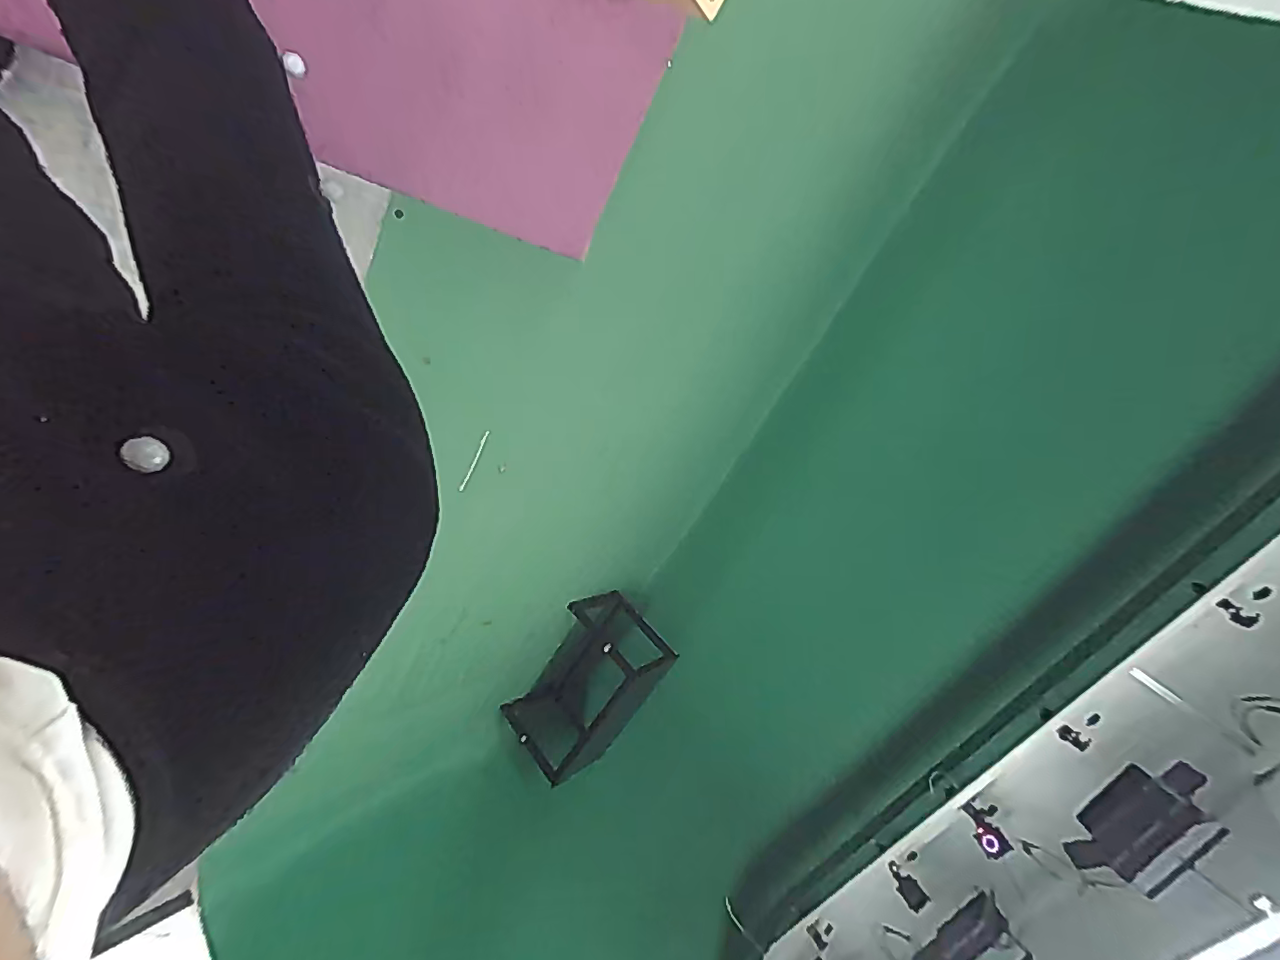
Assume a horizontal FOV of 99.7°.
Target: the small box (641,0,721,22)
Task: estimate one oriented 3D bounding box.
[{"bbox_3d":[0.037,-0.743,0.681,0.168,0.176,0.179,-1,128,-55],"label":"small box"}]
